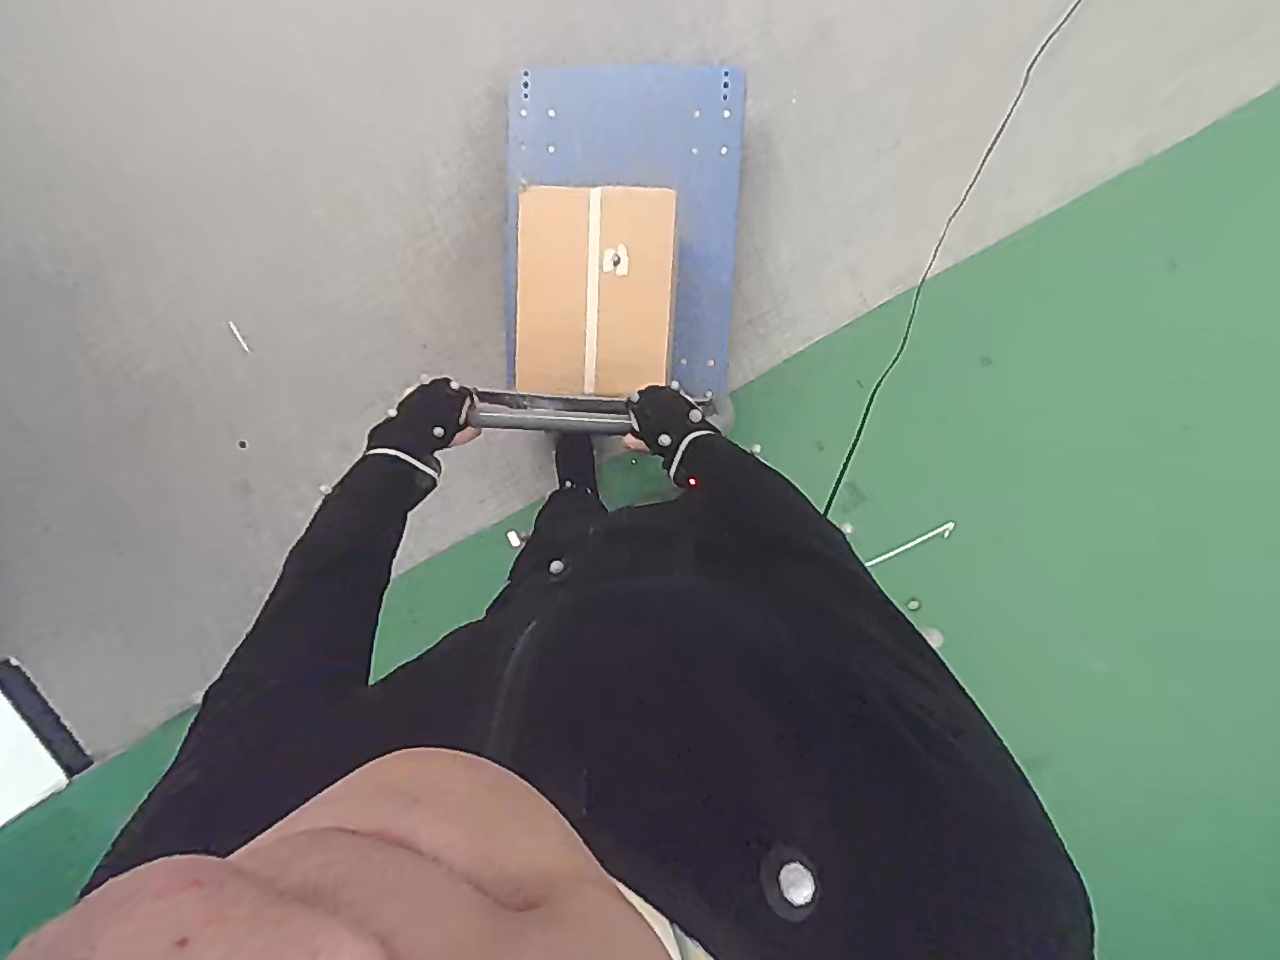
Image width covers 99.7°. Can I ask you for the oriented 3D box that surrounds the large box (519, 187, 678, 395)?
[{"bbox_3d":[-0.080,-0.404,1.250,0.320,0.320,0.408,4,99,4],"label":"large box"}]
